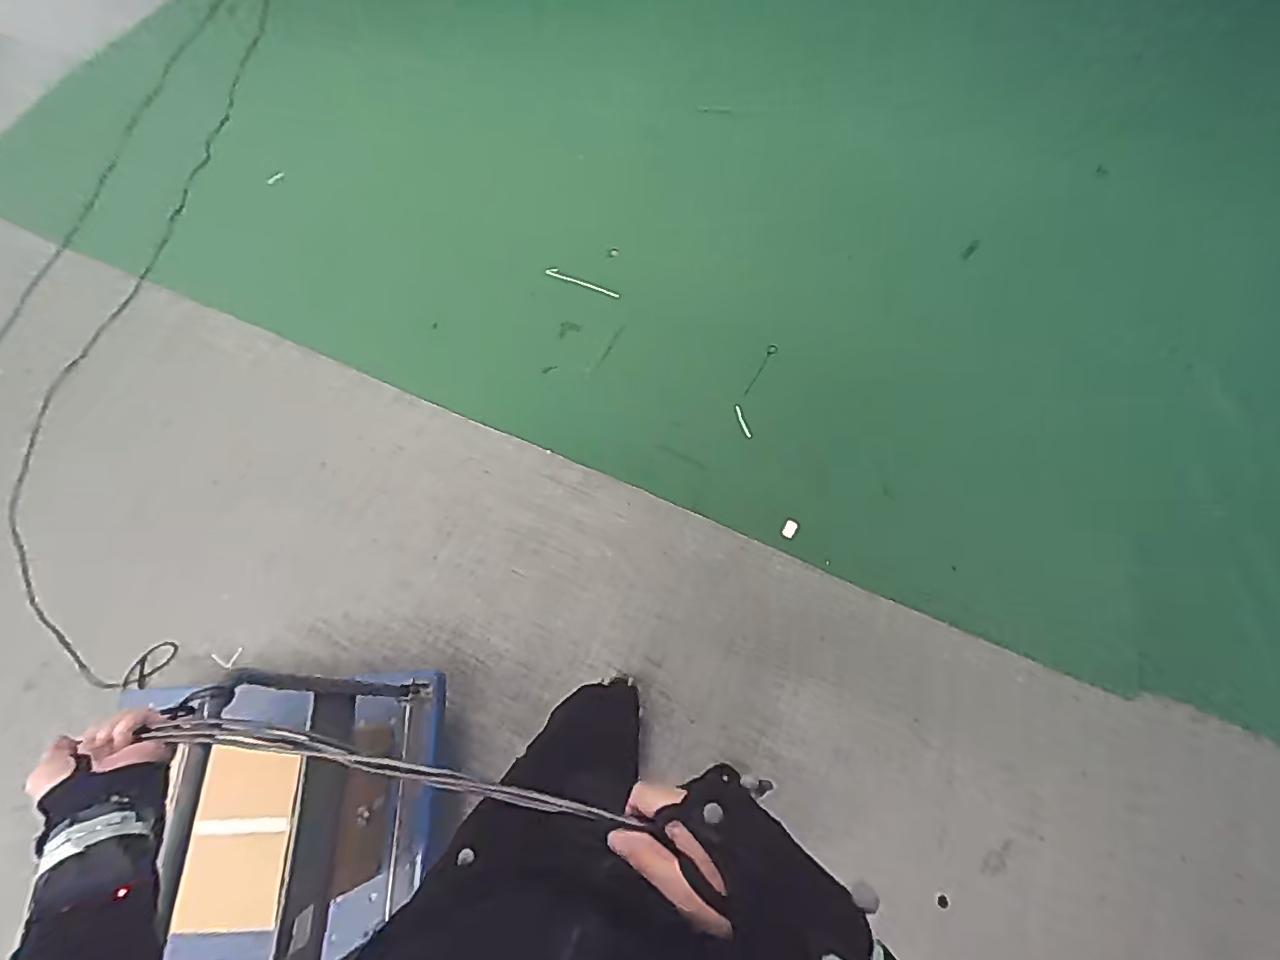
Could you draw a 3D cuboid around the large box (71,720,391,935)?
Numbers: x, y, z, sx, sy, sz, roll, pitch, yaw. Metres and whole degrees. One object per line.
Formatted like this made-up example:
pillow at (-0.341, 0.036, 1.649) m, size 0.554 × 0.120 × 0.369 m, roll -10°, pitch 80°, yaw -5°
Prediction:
large box at (-0.792, 0.686, 1.121) m, size 0.408 × 0.320 × 0.320 m, roll -6°, pitch 67°, yaw 5°
